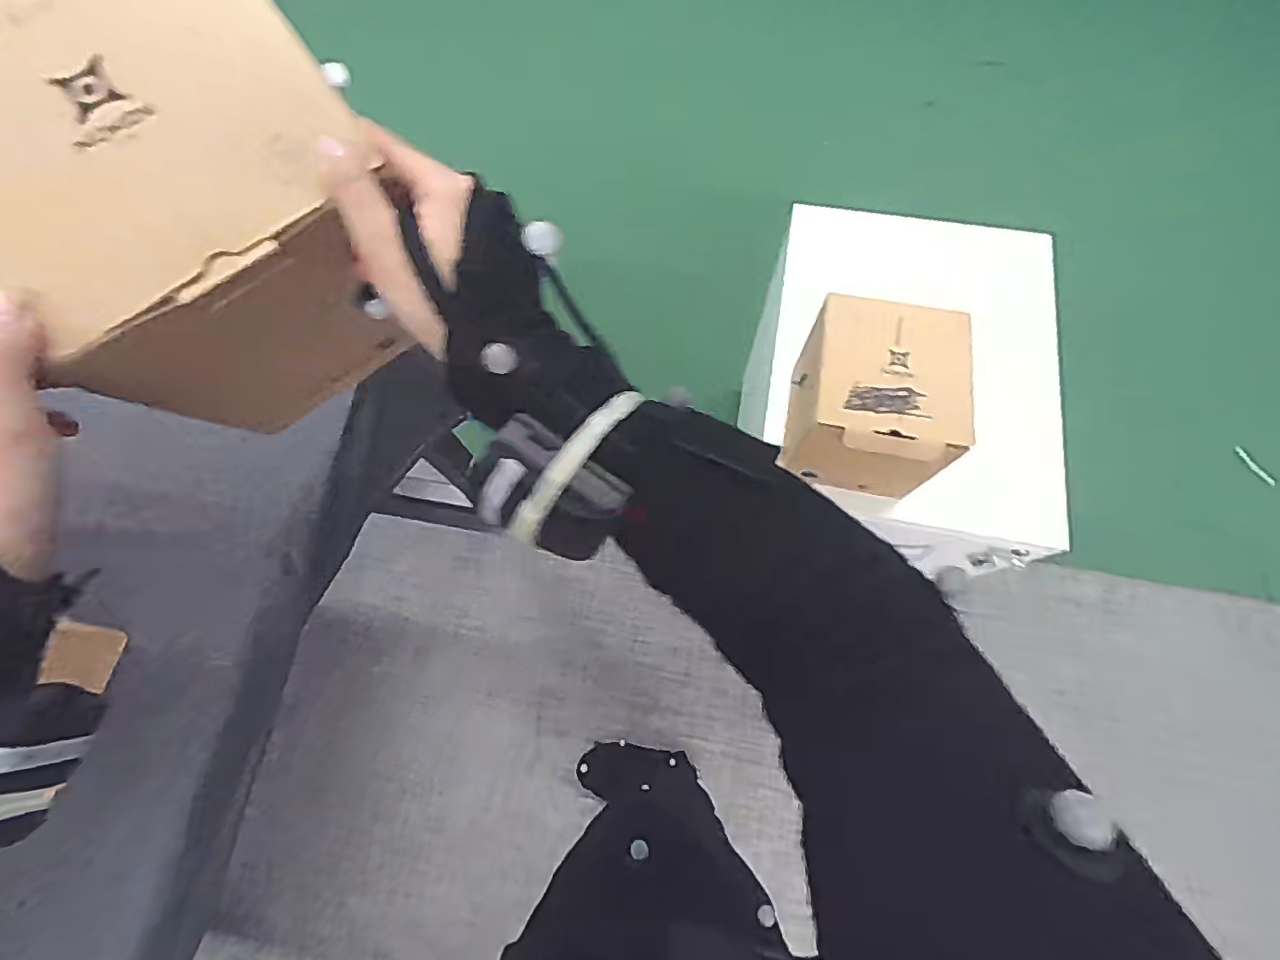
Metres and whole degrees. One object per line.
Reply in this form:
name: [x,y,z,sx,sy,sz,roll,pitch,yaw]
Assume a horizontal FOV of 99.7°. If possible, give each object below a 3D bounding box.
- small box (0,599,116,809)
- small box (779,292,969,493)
small box: [-0.615,0.183,0.448,0.179,0.176,0.168,11,72,6]
small box: [0.276,-0.097,0.667,0.168,0.176,0.179,11,70,4]
